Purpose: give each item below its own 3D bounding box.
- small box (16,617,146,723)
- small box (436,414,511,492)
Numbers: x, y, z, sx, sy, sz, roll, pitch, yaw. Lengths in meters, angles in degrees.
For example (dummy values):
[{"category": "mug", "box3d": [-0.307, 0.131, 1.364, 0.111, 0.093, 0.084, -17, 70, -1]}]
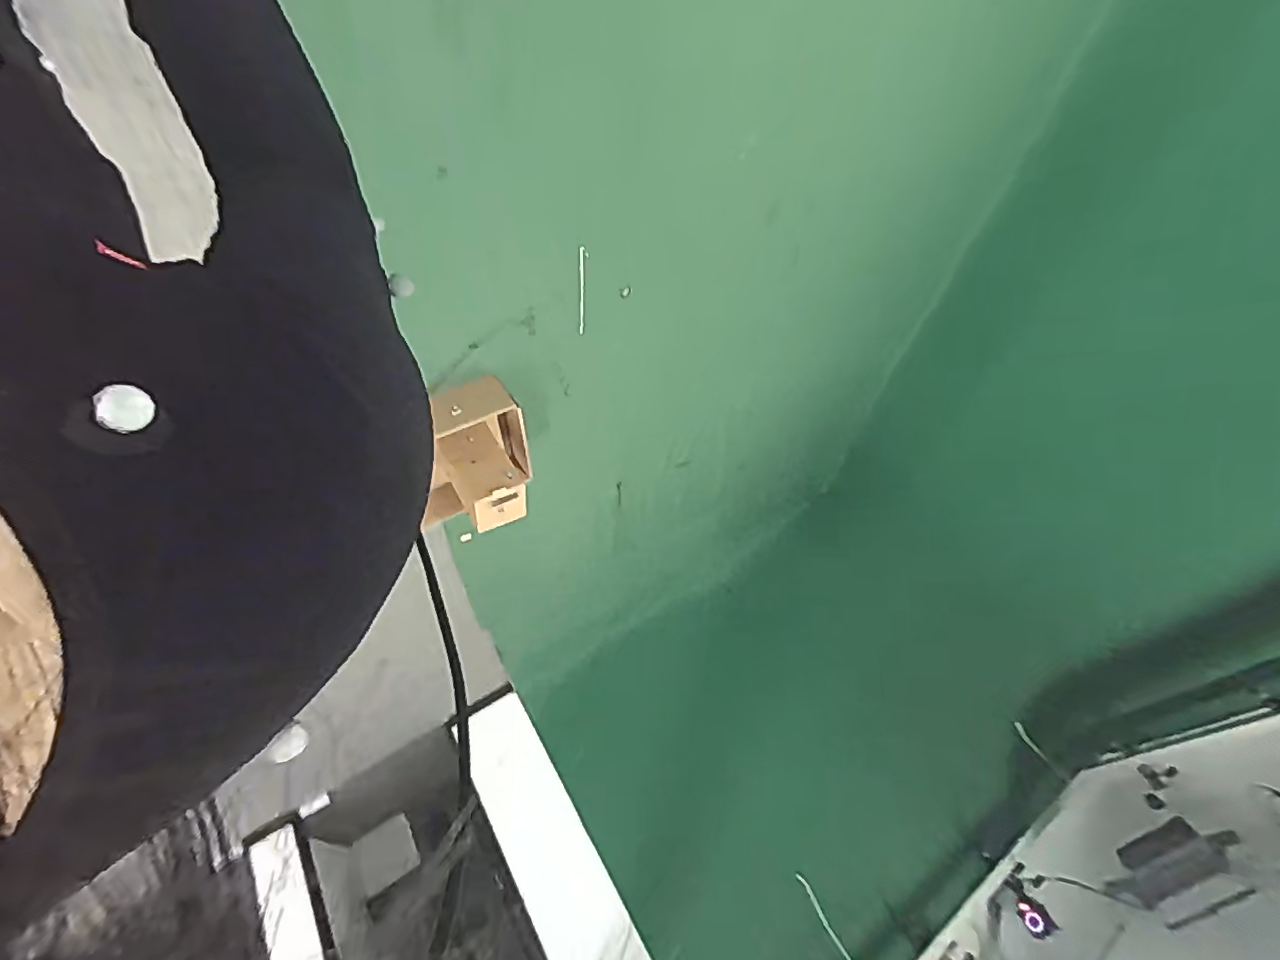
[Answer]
[{"category": "small box", "box3d": [-1.416, 0.479, 1.376, 0.168, 0.176, 0.179, -28, 149, -23]}, {"category": "small box", "box3d": [-0.555, -0.095, 1.811, 0.179, 0.176, 0.168, -25, 149, -22]}]
